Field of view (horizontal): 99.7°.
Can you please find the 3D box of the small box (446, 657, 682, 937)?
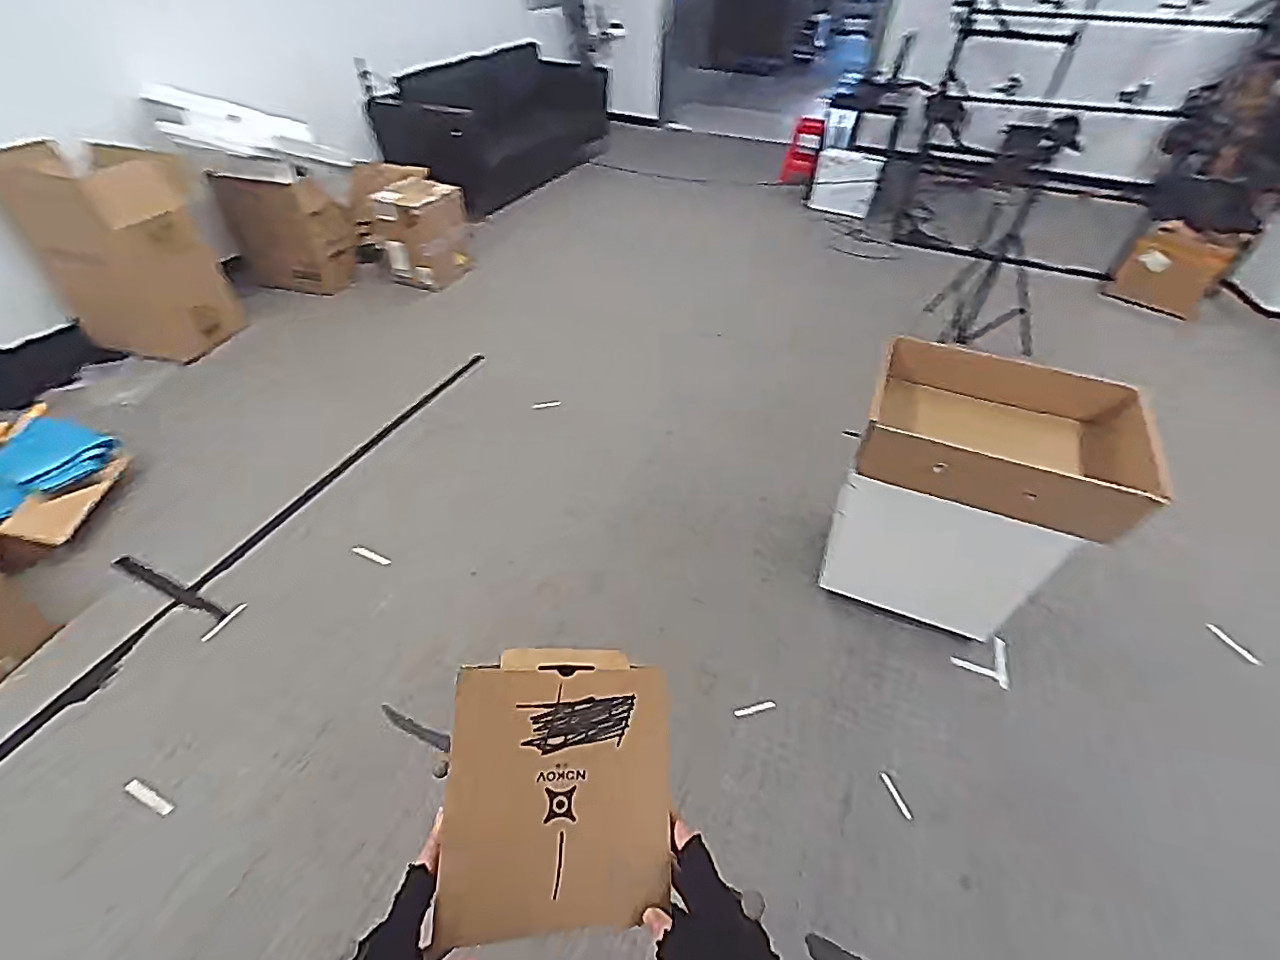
[{"bbox_3d":[-0.067,0.253,0.471,0.168,0.176,0.179,5,68,-13],"label":"small box"}]
